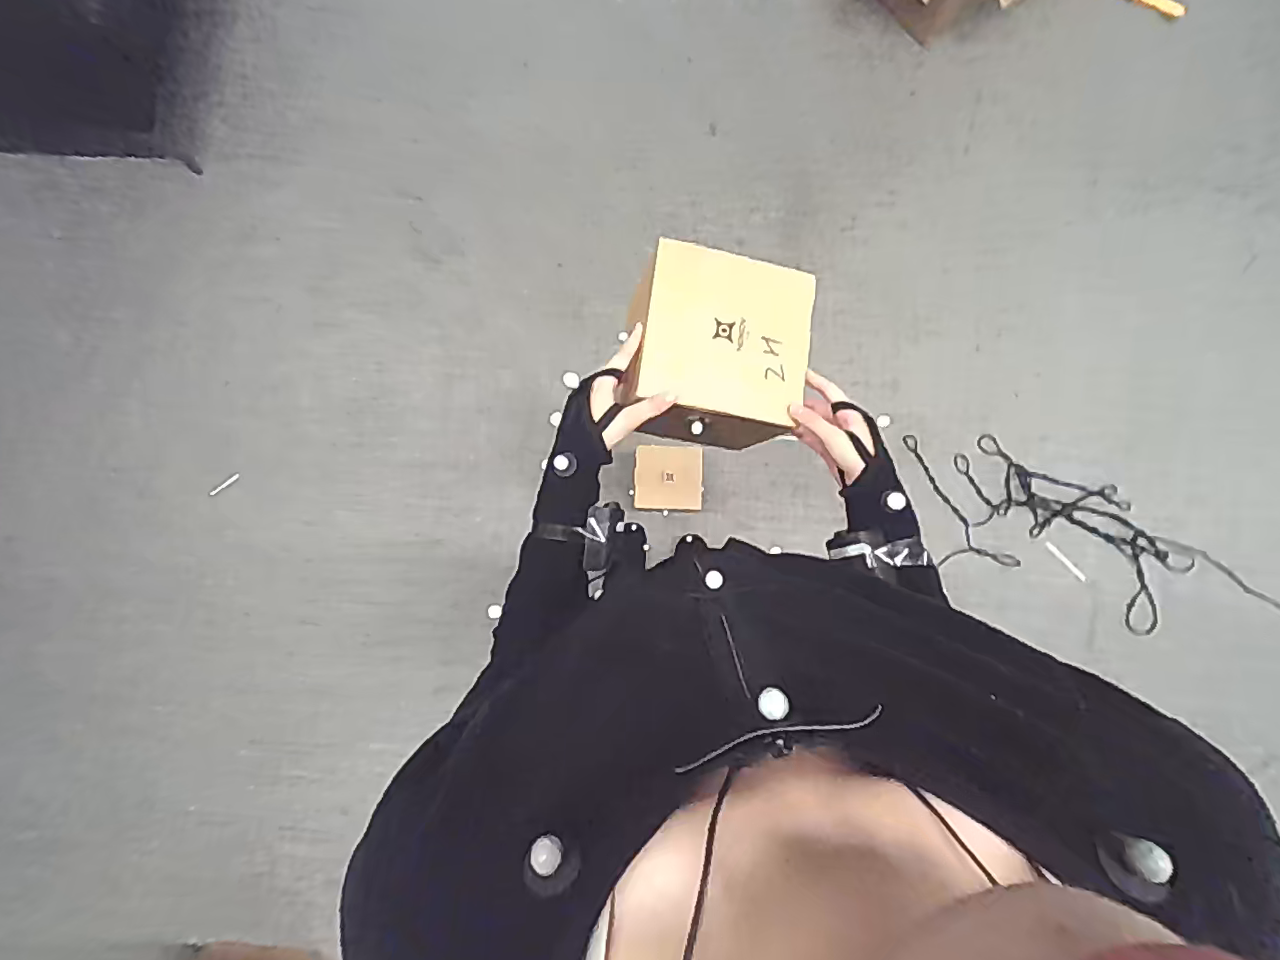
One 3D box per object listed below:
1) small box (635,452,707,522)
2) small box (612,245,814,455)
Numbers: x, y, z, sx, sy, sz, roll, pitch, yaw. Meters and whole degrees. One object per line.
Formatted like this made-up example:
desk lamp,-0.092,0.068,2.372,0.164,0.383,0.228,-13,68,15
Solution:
small box,0.083,0.024,1.459,0.179,0.176,0.168,3,83,2
small box,0.071,-0.131,0.617,0.179,0.176,0.168,11,82,-10
